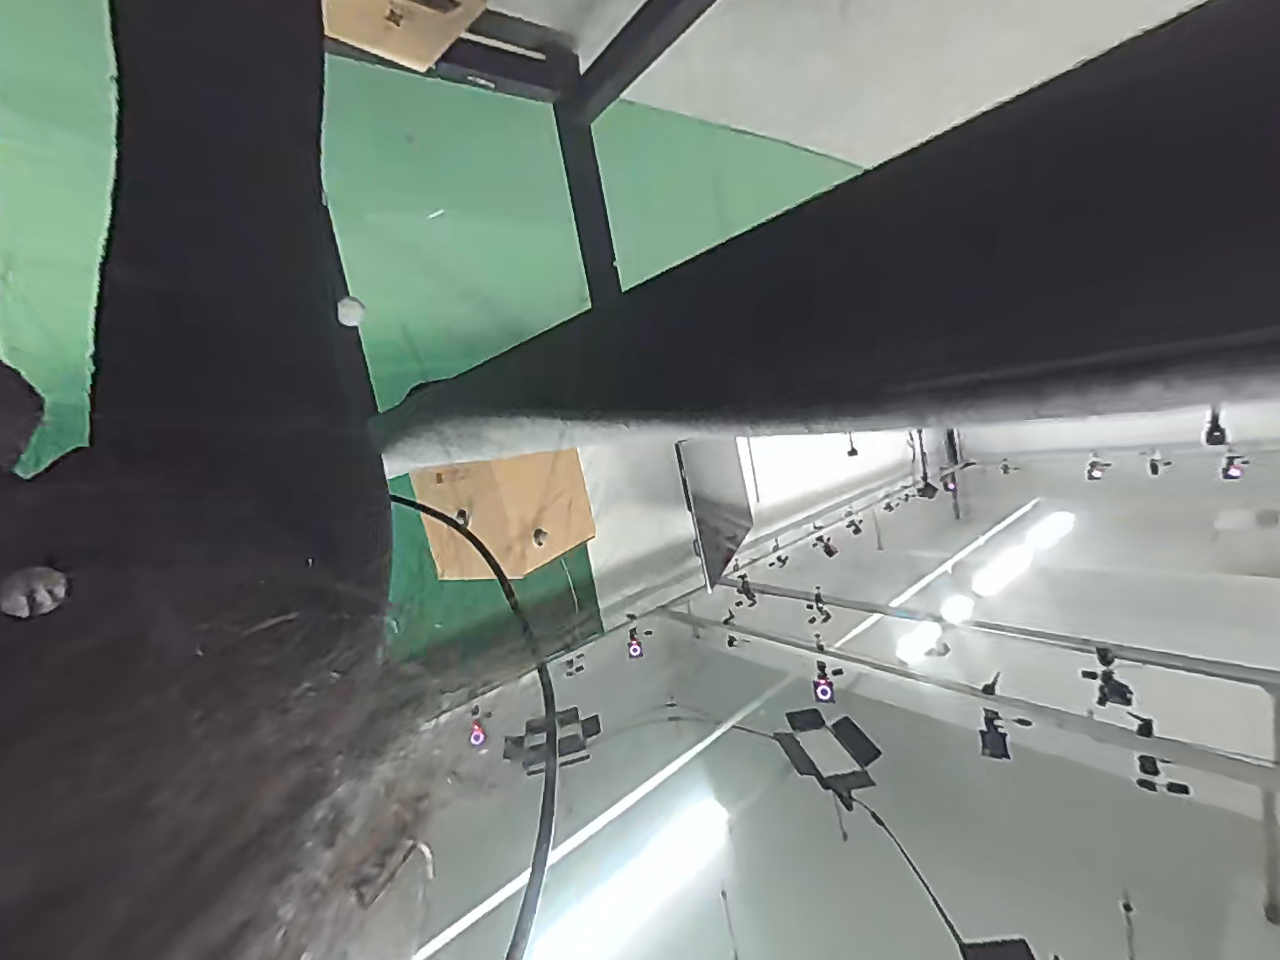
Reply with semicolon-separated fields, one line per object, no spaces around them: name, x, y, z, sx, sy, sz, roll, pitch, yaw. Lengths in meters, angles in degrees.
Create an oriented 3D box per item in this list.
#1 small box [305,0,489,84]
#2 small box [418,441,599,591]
small box;-0.325;-0.664;0.687;0.179;0.176;0.168;-4;-171;39
small box;-0.189;0.048;0.785;0.168;0.176;0.179;-7;-170;32
